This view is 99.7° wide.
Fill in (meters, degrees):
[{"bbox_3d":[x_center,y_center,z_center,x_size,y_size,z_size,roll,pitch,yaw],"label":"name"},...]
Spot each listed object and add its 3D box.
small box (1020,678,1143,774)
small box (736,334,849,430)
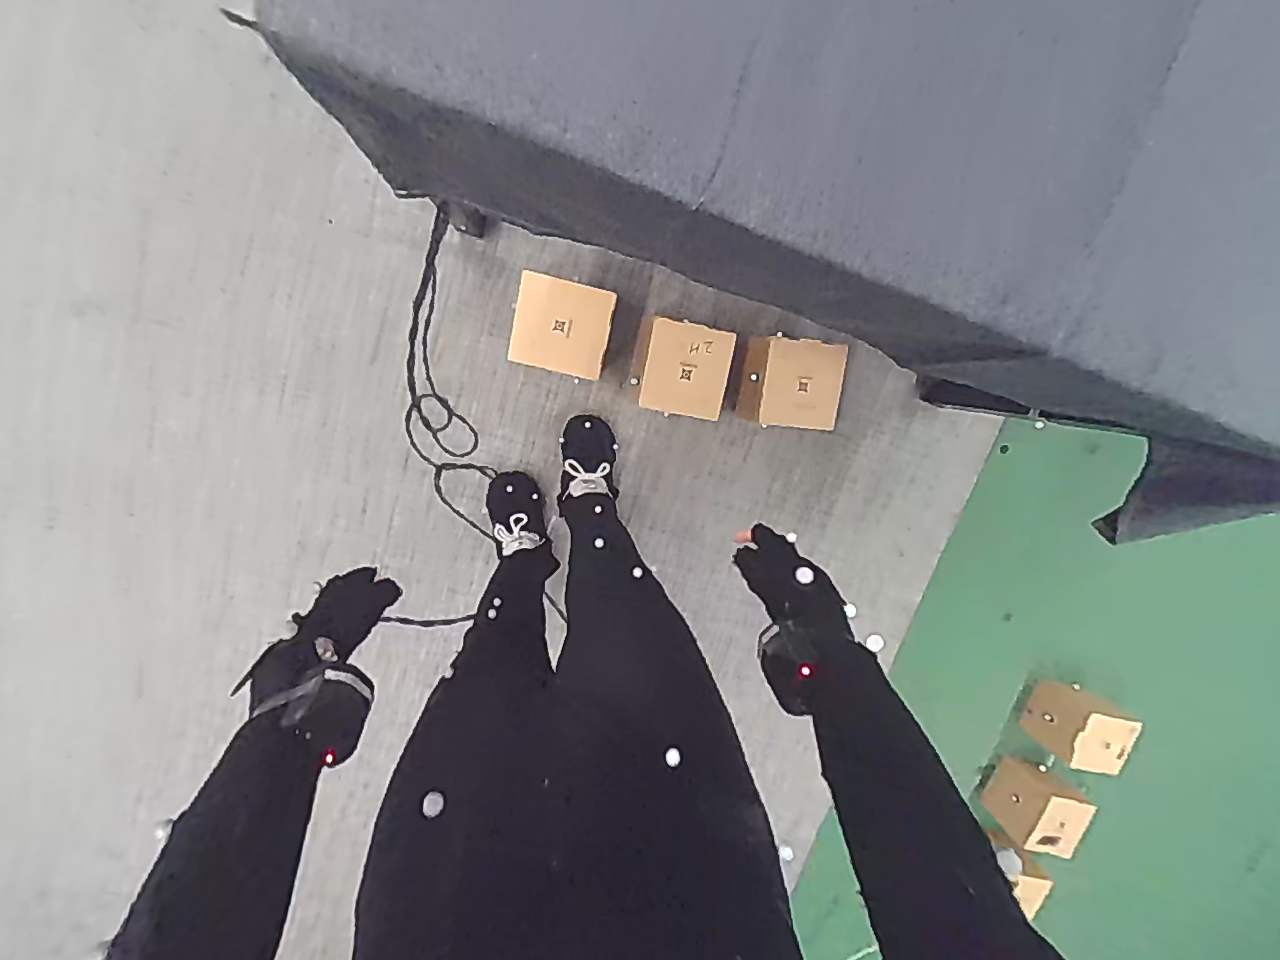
[{"bbox_3d":[1.216,0.676,1.505,0.179,0.176,0.168,15,101,-11],"label":"small box"},{"bbox_3d":[0.314,-0.209,1.151,0.168,0.176,0.179,4,103,-9],"label":"small box"}]
